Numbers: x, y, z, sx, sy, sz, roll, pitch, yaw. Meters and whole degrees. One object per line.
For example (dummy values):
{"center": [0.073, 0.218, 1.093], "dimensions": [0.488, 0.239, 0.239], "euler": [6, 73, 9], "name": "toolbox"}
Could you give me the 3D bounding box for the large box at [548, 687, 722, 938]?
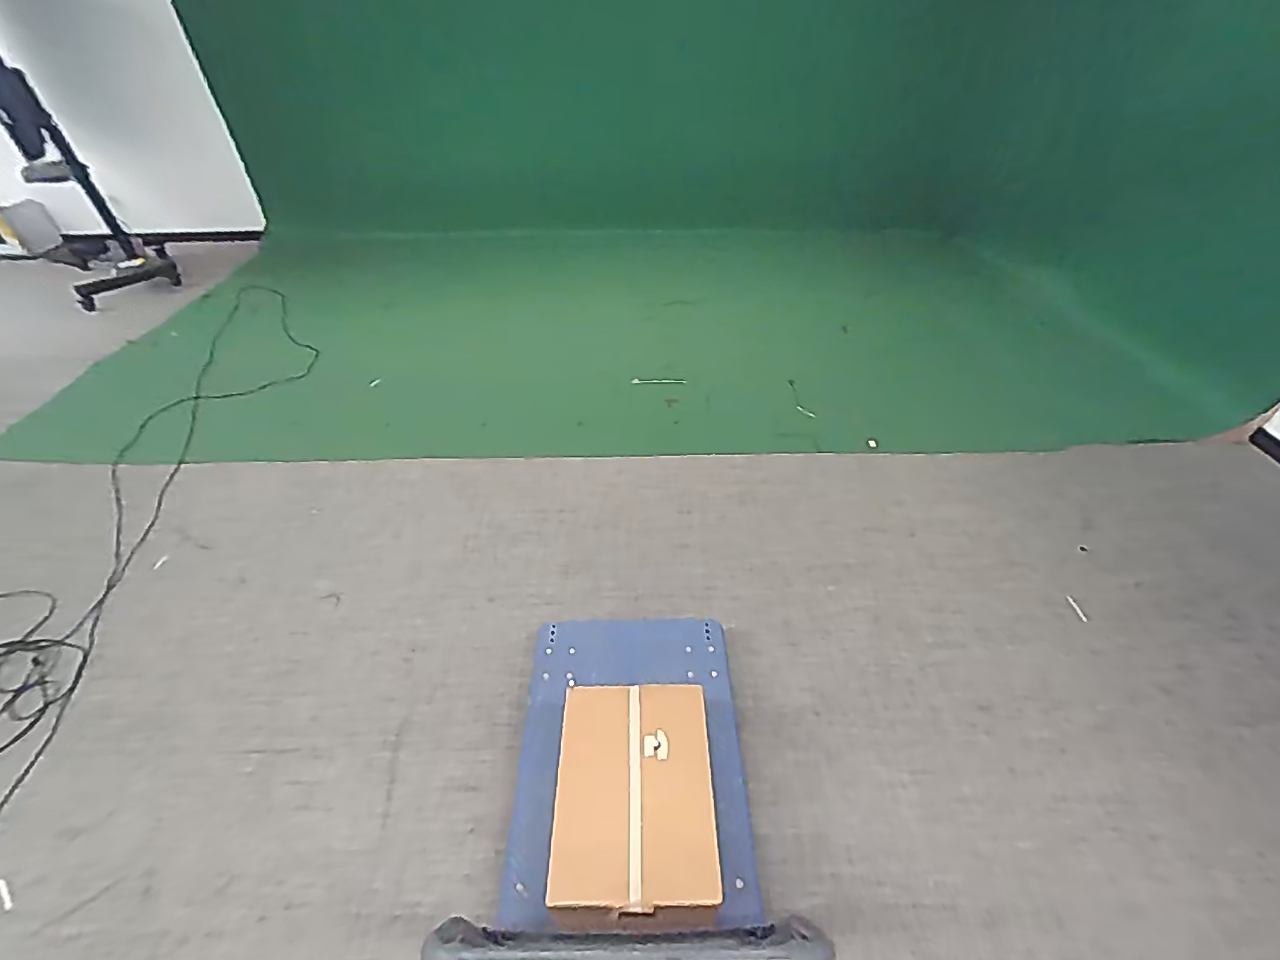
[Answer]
{"center": [-0.011, 0.721, 1.190], "dimensions": [0.320, 0.320, 0.408], "euler": [0, 42, 0], "name": "large box"}
